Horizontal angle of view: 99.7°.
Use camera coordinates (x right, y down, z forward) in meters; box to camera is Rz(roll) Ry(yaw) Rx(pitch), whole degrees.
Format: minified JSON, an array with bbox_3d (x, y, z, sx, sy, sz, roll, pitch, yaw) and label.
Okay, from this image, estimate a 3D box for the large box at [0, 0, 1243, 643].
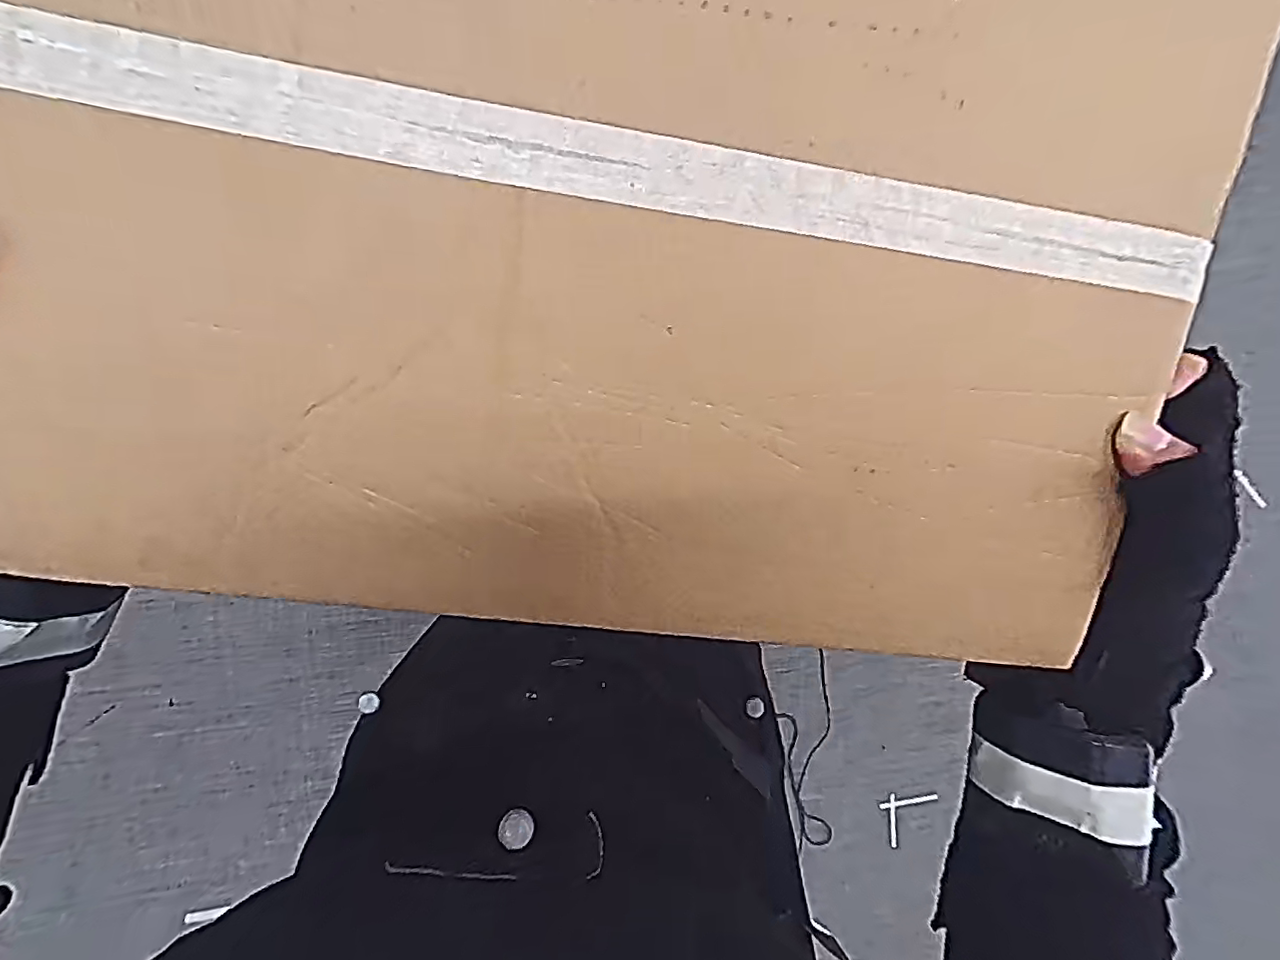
[{"bbox_3d":[-0.015,-0.128,0.329,0.408,0.320,0.320,7,101,-7],"label":"large box"}]
